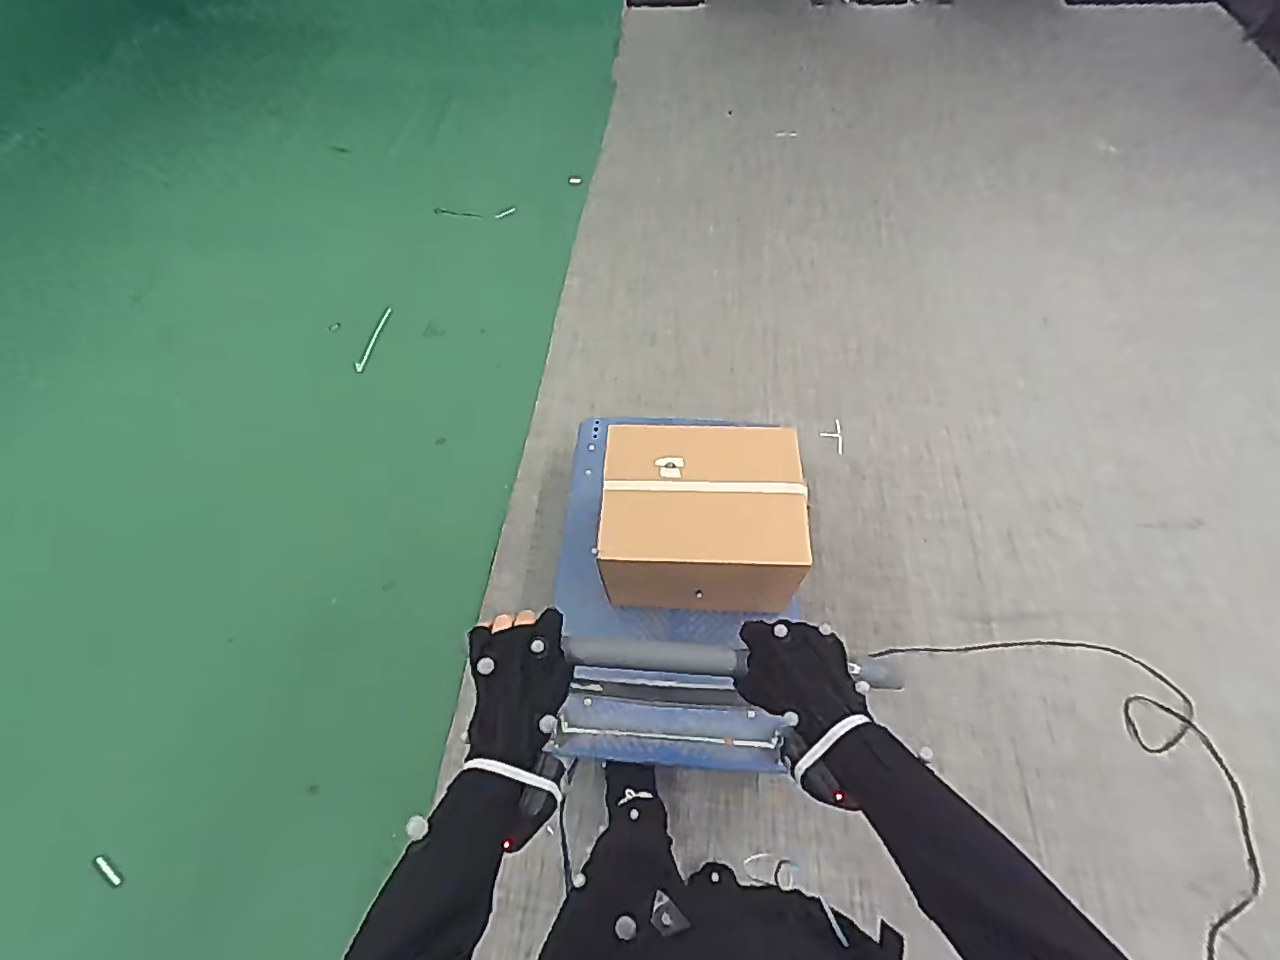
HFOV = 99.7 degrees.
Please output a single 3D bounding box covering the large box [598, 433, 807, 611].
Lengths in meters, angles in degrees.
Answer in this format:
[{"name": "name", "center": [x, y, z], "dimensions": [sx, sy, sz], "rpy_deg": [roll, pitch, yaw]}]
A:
[{"name": "large box", "center": [0.133, 0.106, 1.225], "dimensions": [0.408, 0.320, 0.320], "rpy_deg": [0, 60, 5]}]
